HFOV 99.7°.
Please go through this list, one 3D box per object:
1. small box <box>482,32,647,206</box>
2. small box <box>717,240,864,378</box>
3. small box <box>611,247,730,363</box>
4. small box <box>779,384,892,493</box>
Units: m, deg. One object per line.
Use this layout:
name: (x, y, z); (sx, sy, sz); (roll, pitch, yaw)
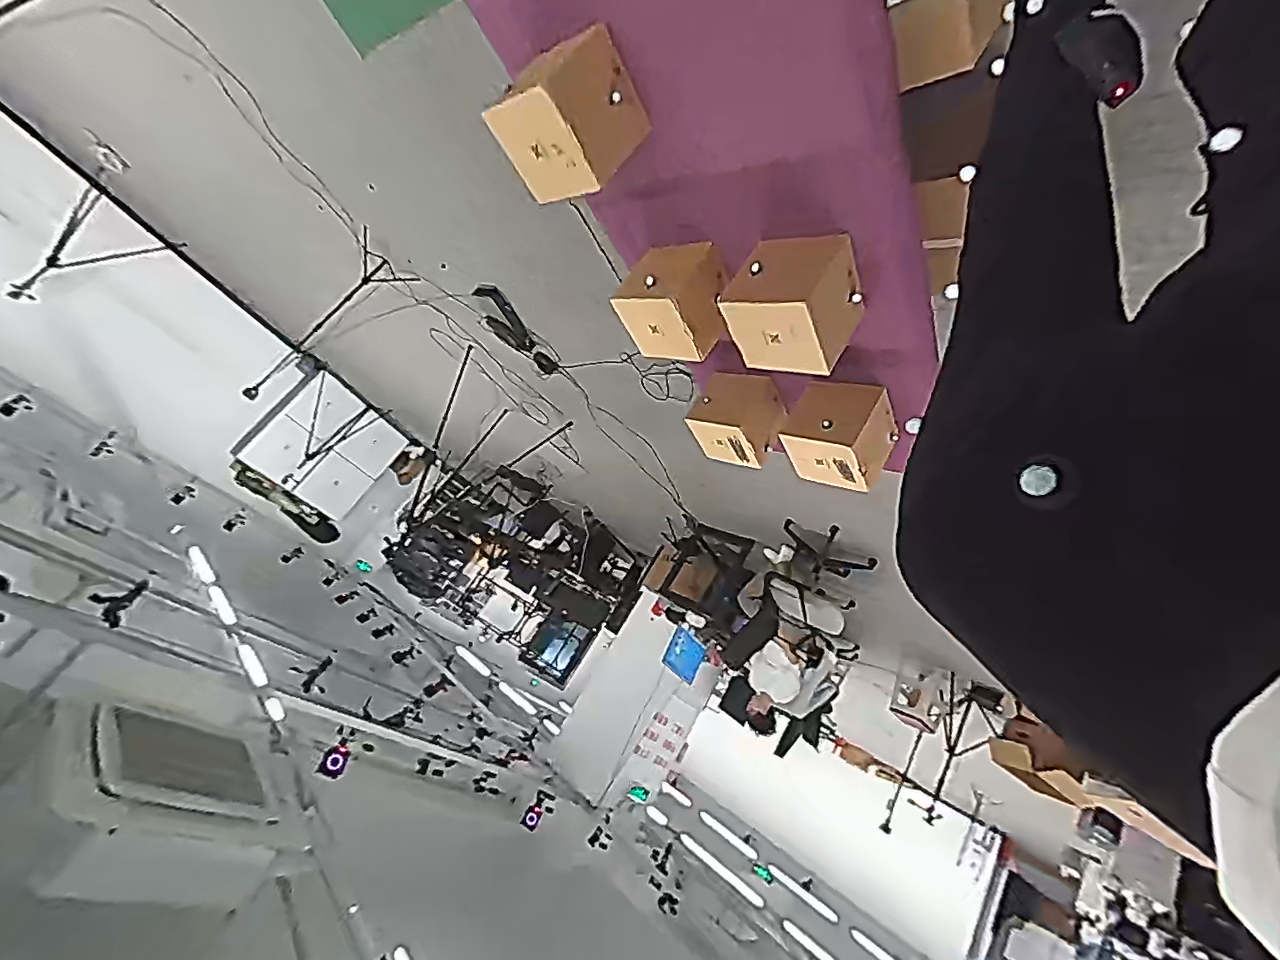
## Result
small box: (-0.121, -0.599, 0.913); (0.179, 0.176, 0.168); (16, 156, 42)
small box: (0.276, -0.311, 0.980); (0.179, 0.176, 0.168); (18, 157, 42)
small box: (0.077, -0.375, 1.158); (0.179, 0.176, 0.168); (16, 154, 41)
small box: (0.448, -0.099, 1.219); (0.179, 0.176, 0.168); (18, 155, 45)
